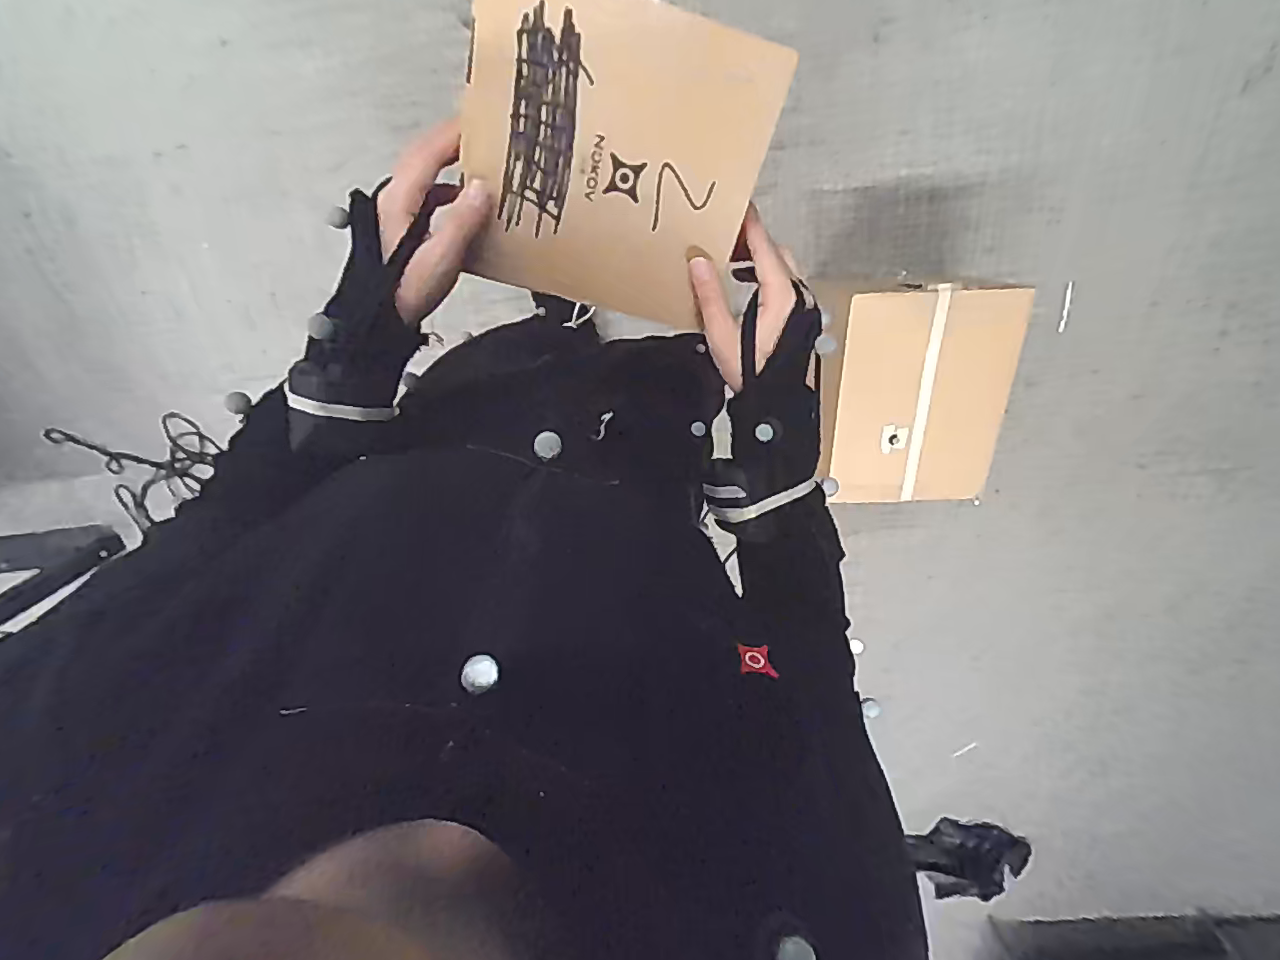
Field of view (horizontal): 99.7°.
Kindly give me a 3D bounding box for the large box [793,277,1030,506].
[{"bbox_3d":[0.523,-0.197,1.137,0.320,0.320,0.408,-1,115,2],"label":"large box"}]
